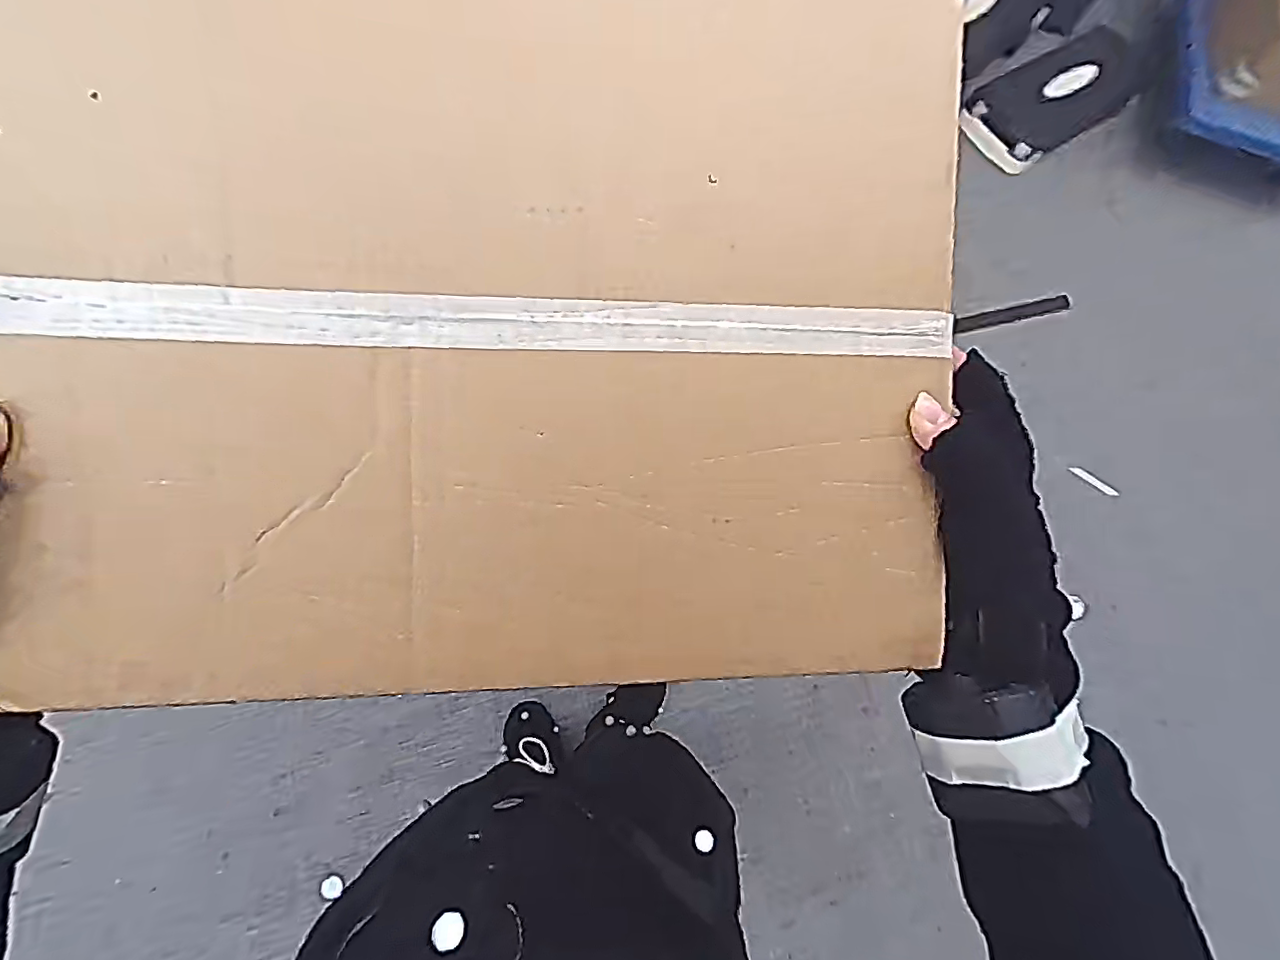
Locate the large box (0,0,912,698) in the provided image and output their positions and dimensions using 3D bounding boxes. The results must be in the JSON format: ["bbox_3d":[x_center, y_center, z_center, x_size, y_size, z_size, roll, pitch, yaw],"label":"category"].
[{"bbox_3d":[-0.084,-0.074,0.388,0.408,0.320,0.320,0,92,-8],"label":"large box"}]
